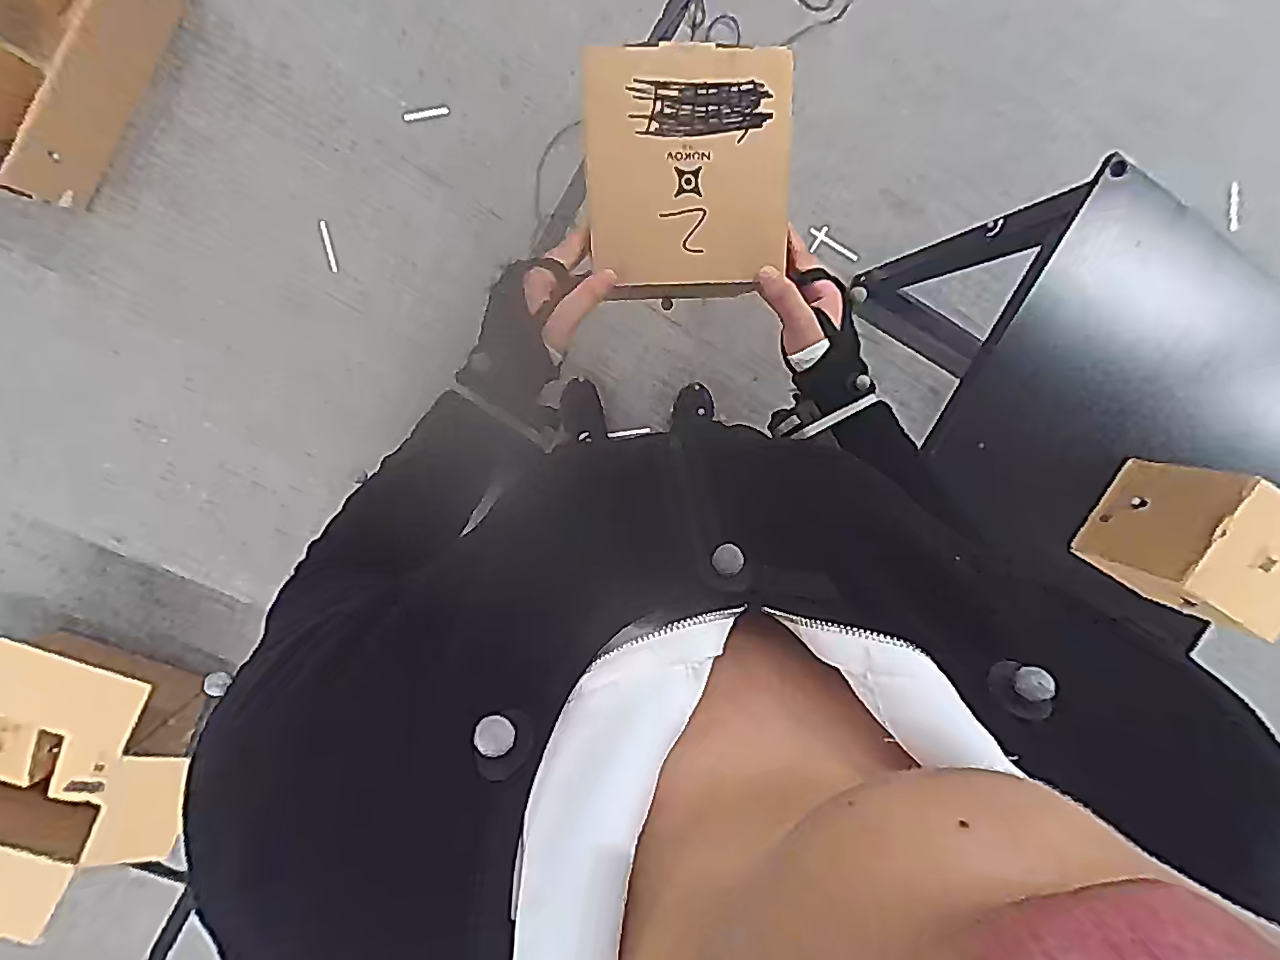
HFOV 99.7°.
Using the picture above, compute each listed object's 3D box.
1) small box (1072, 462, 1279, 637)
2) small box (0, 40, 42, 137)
[{"bbox_3d":[0.793,0.087,0.776,0.179,0.176,0.168,29,95,-10],"label":"small box"},{"bbox_3d":[-1.384,-0.840,1.082,0.168,0.176,0.179,30,94,-12],"label":"small box"}]
